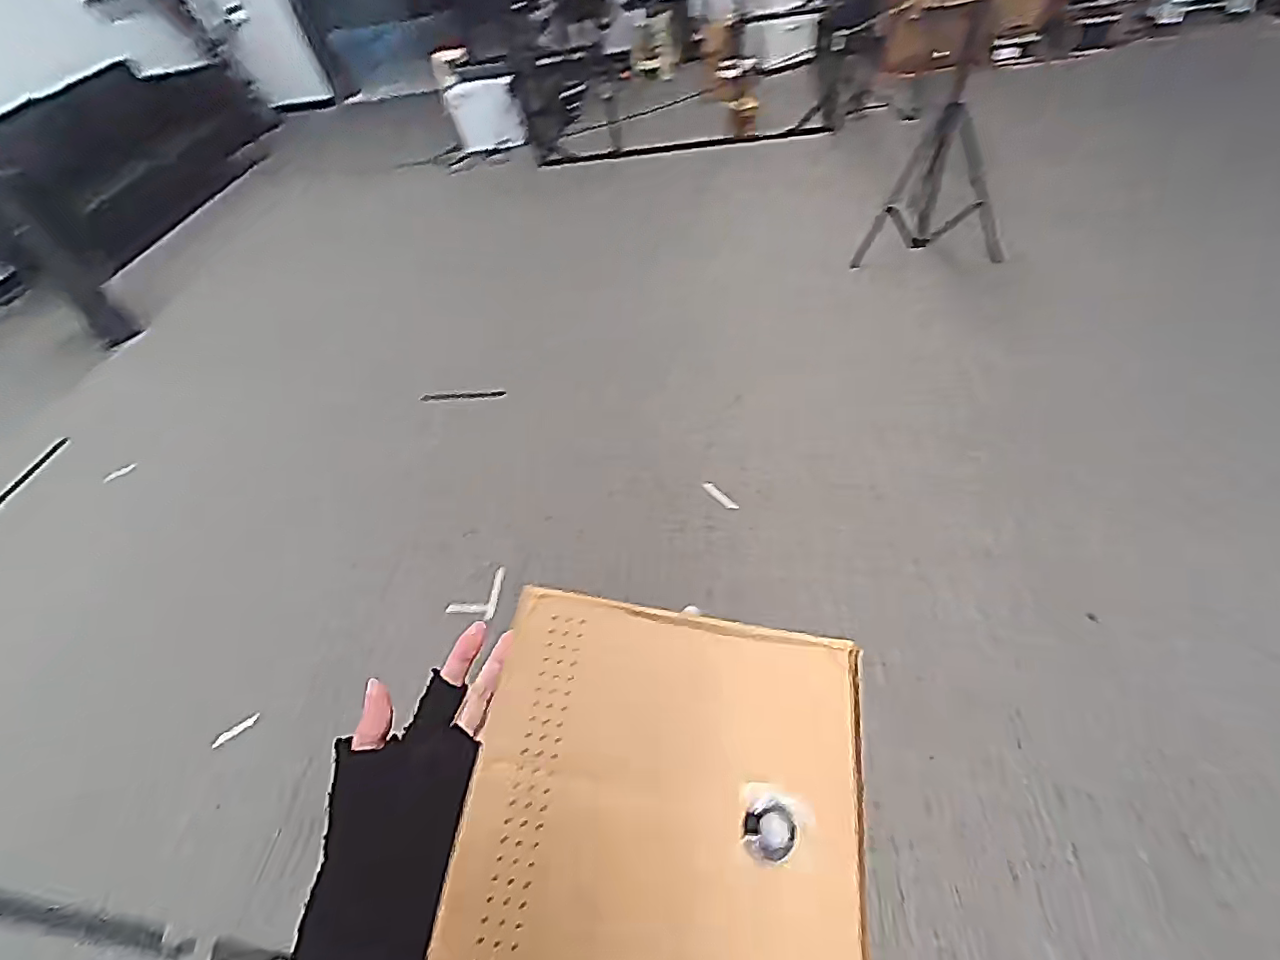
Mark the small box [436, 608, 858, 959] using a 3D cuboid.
[{"bbox_3d":[0.003,0.185,0.305,0.176,0.168,0.179,9,60,1],"label":"small box"}]
